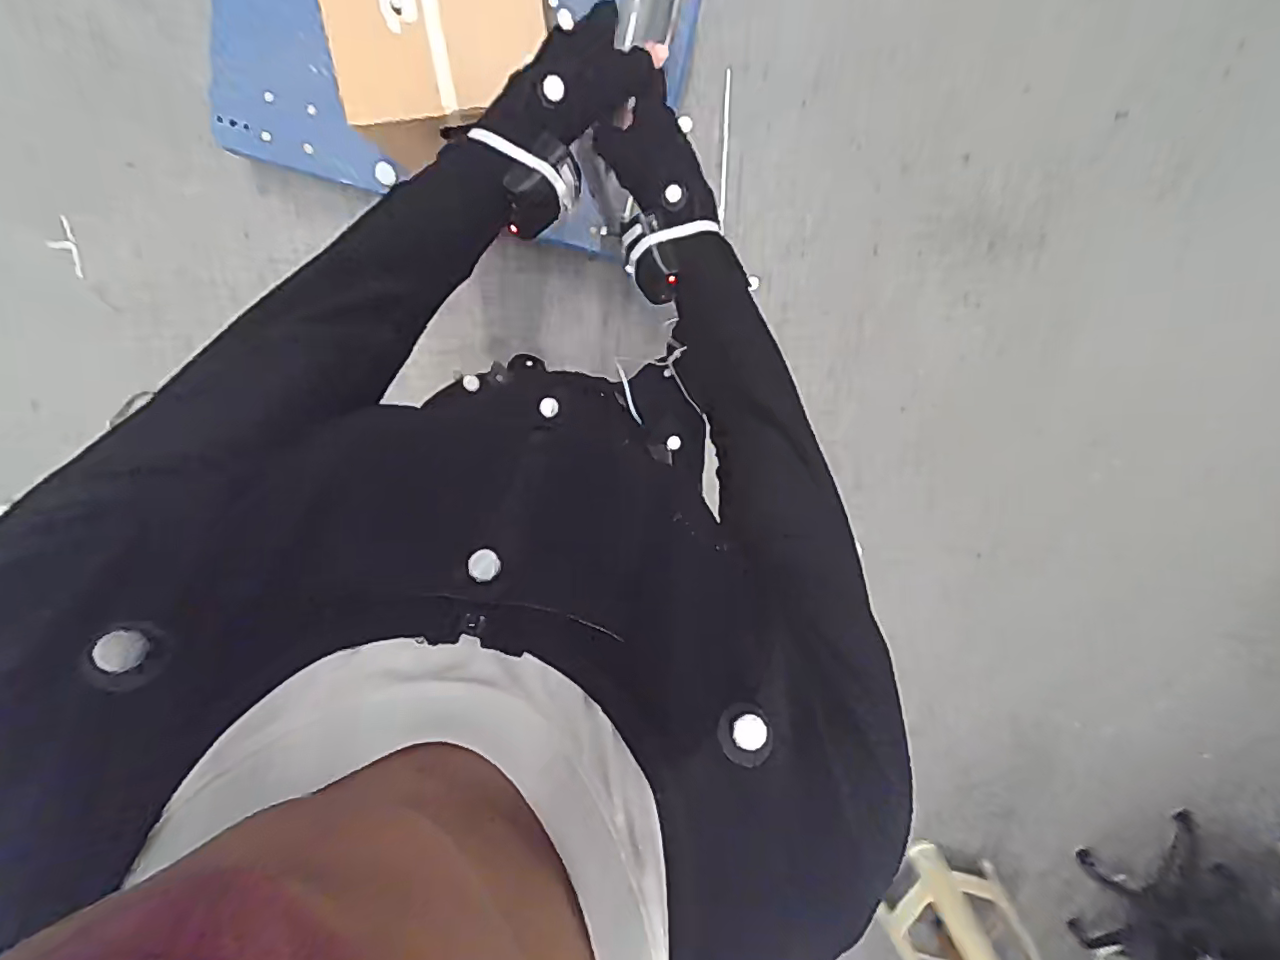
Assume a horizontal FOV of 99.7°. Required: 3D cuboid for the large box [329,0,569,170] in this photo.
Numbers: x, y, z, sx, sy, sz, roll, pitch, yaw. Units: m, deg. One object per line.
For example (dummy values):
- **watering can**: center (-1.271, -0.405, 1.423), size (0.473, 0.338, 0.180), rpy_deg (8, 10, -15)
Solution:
- **large box**: center (-0.303, -0.784, 0.891), size (0.320, 0.320, 0.408), rpy_deg (-7, 108, -1)
